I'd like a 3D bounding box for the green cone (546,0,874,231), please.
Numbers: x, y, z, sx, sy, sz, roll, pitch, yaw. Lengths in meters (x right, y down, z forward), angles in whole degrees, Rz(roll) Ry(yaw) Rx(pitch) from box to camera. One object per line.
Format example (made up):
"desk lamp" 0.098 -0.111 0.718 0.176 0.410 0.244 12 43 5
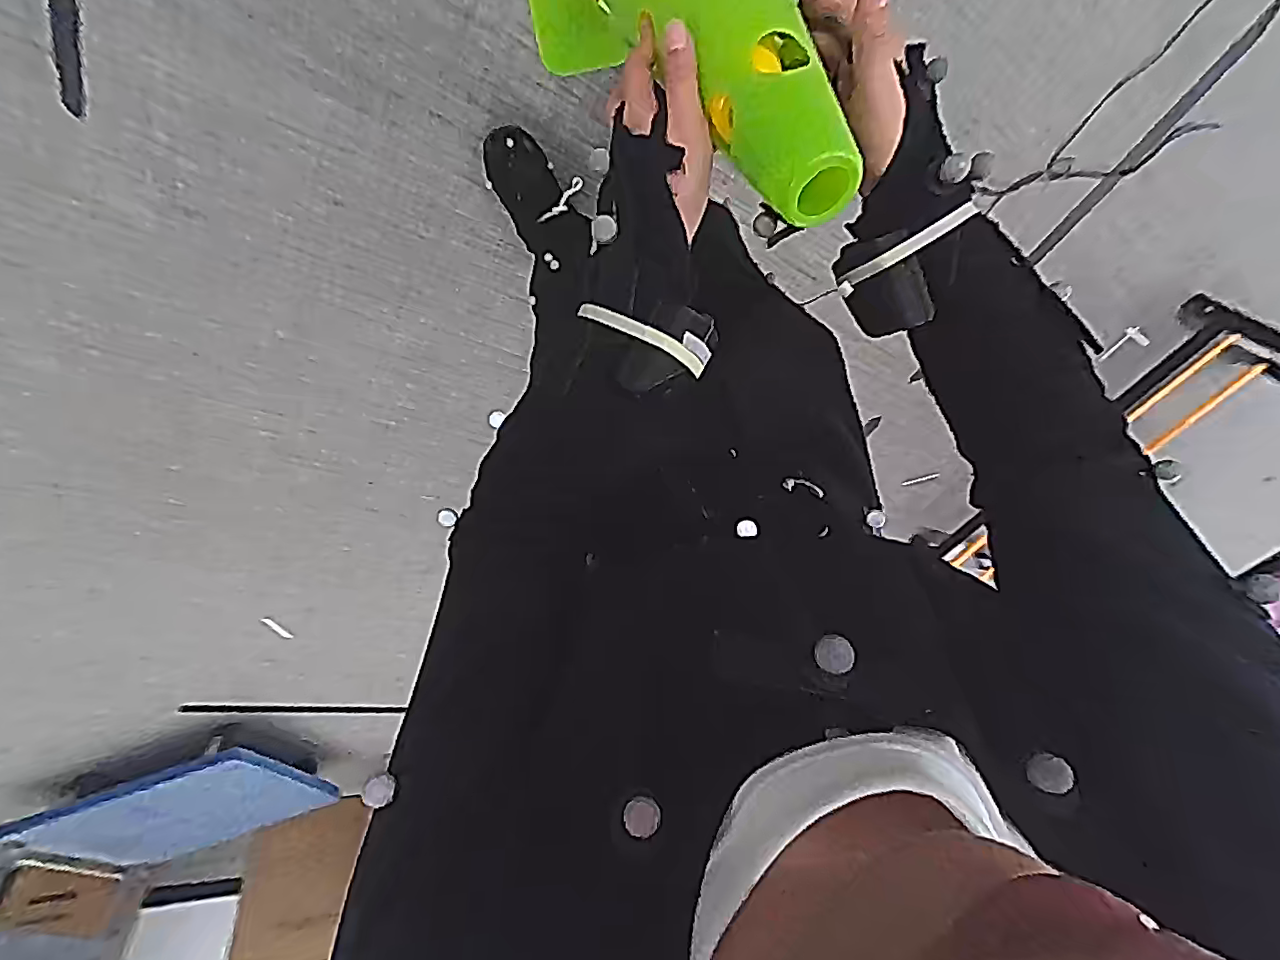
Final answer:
"green cone" 0.055 -0.289 0.329 0.202 0.368 0.200 -13 153 -2
